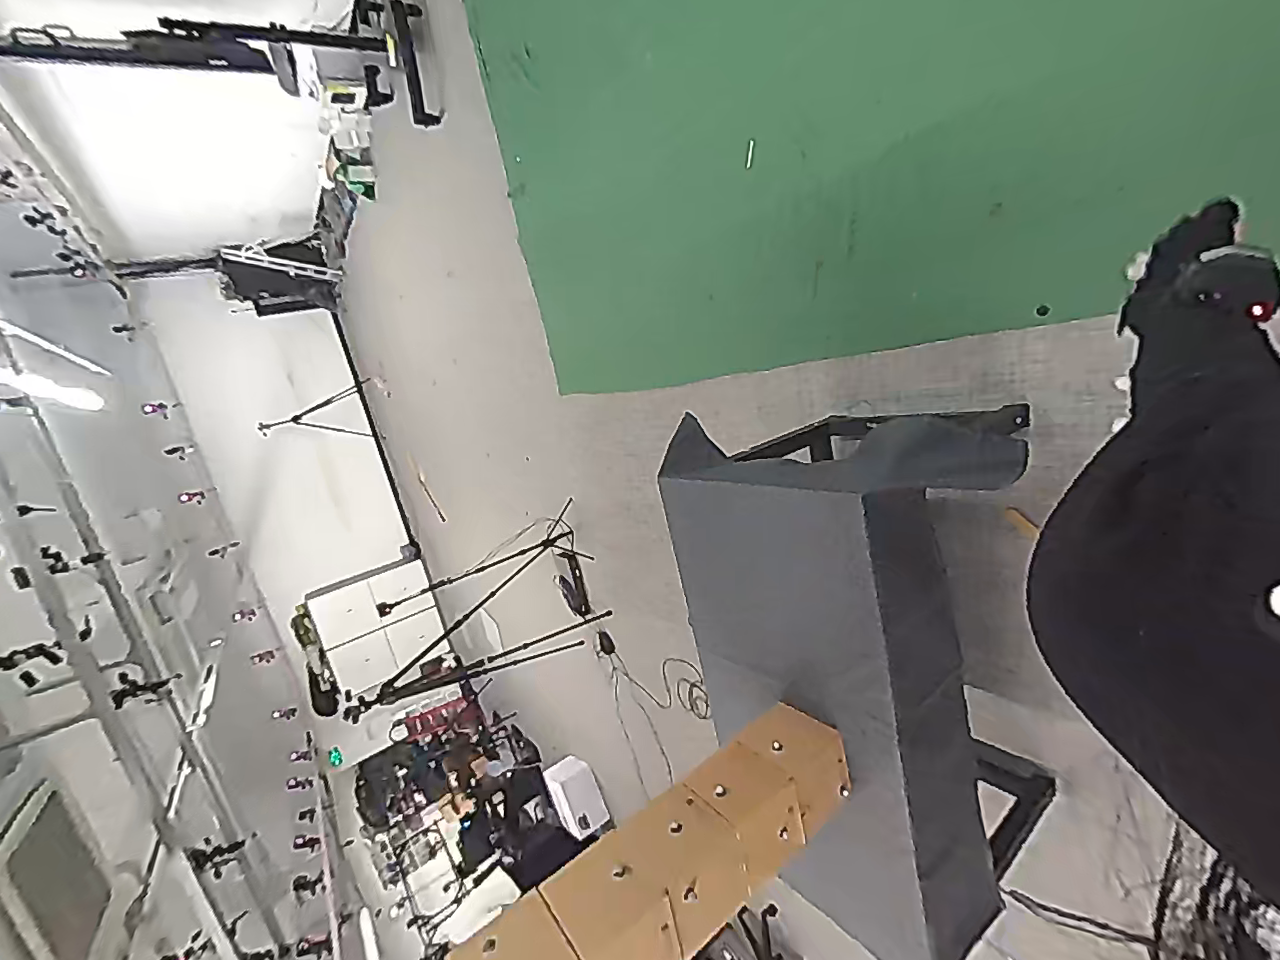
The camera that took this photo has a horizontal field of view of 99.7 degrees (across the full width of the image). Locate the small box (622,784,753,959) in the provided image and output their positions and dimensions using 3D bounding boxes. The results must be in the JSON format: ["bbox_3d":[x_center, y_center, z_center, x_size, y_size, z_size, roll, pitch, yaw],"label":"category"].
[{"bbox_3d":[0.093,0.732,1.036,0.168,0.176,0.179,7,113,56],"label":"small box"}]

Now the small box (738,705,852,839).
[{"bbox_3d":[0.353,0.638,1.210,0.179,0.176,0.168,5,111,57],"label":"small box"}]

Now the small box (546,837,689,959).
[{"bbox_3d":[-0.039,0.776,0.950,0.179,0.176,0.168,9,114,55],"label":"small box"}]

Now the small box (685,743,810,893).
[{"bbox_3d":[0.223,0.685,1.125,0.179,0.176,0.168,5,111,56],"label":"small box"}]
